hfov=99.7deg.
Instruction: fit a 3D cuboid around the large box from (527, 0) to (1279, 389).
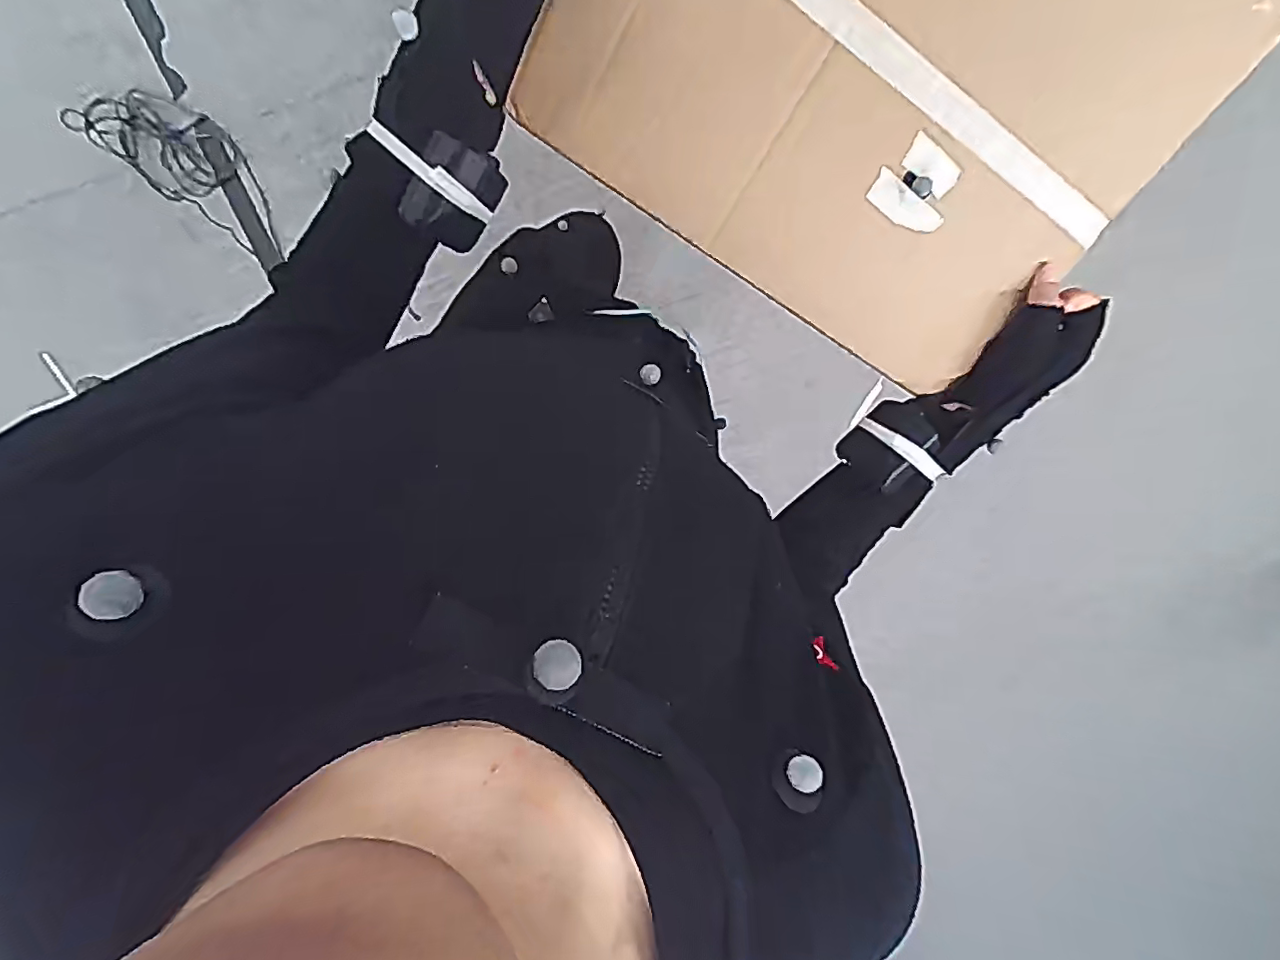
[{"bbox_3d":[0.163,-0.351,0.490,0.408,0.320,0.320,28,117,-15],"label":"large box"}]
